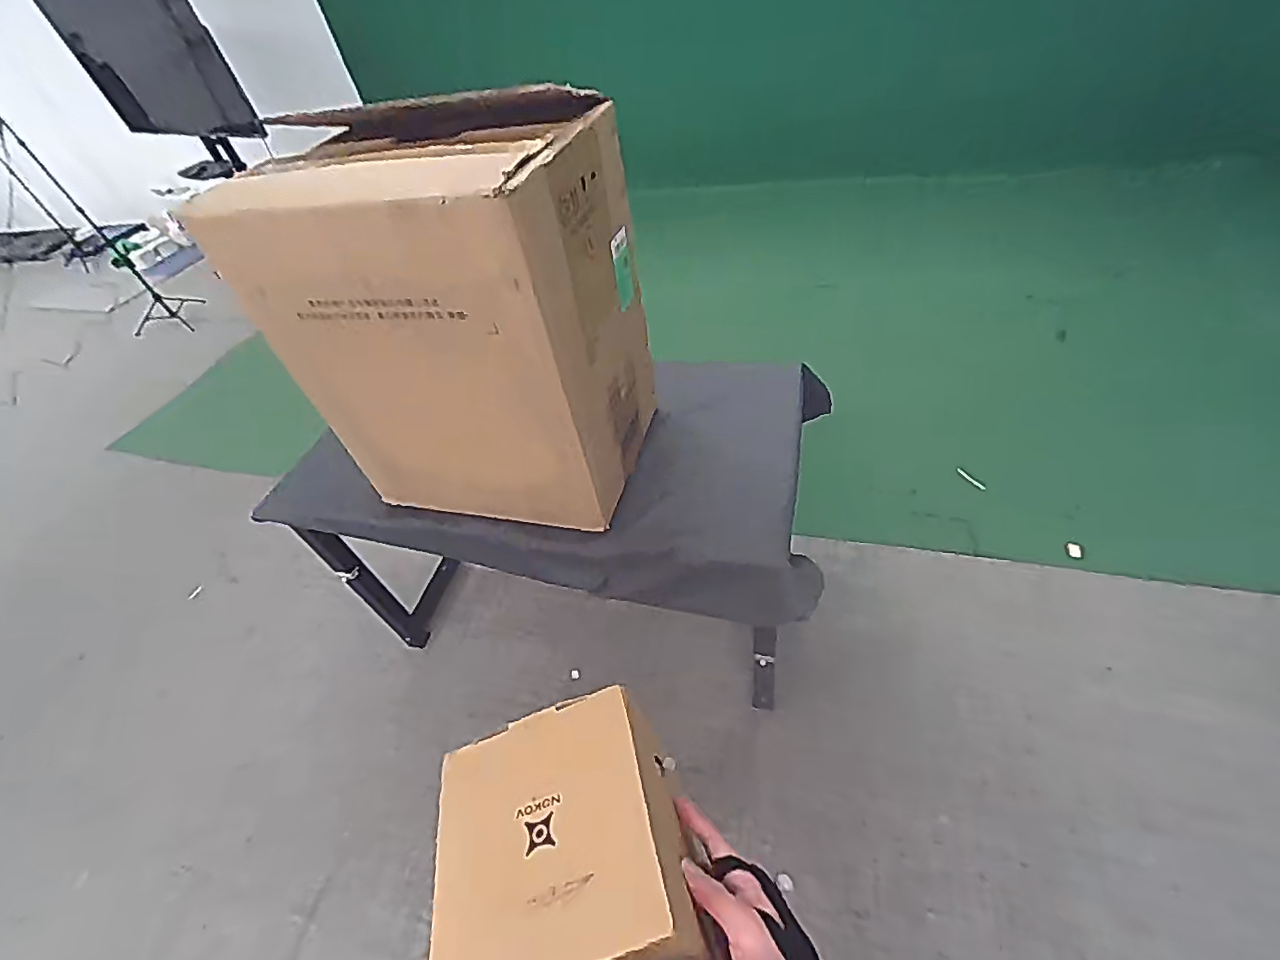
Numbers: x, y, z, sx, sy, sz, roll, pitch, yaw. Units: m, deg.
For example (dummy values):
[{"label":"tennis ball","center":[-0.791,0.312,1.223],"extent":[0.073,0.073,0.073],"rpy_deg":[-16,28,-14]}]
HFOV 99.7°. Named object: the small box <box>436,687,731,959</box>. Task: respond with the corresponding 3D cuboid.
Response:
[{"label":"small box","center":[-0.043,0.311,0.438],"extent":[0.168,0.176,0.179],"rpy_deg":[-23,38,0]}]
